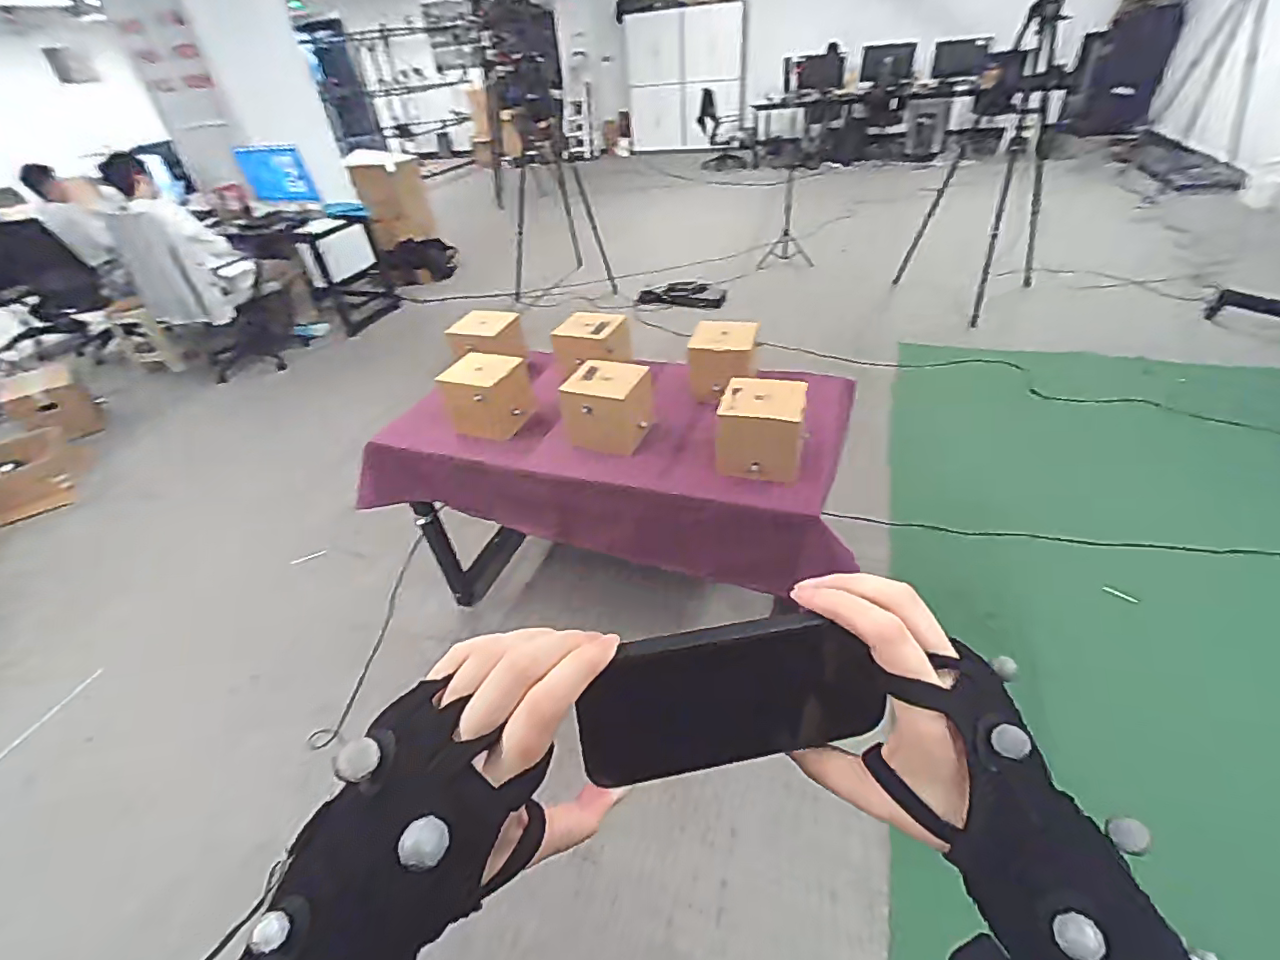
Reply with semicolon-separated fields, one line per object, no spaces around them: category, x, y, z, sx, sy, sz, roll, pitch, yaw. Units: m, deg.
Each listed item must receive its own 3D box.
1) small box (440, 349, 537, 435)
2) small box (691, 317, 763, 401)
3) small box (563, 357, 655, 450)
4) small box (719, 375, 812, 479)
small box;-0.406;-0.240;1.480;0.179;0.176;0.168;11;42;19
small box;0.242;-0.334;1.501;0.168;0.176;0.179;7;42;17
small box;-0.072;-0.194;1.375;0.179;0.176;0.168;13;43;21
small box;0.284;-0.120;1.233;0.179;0.176;0.168;9;41;18
